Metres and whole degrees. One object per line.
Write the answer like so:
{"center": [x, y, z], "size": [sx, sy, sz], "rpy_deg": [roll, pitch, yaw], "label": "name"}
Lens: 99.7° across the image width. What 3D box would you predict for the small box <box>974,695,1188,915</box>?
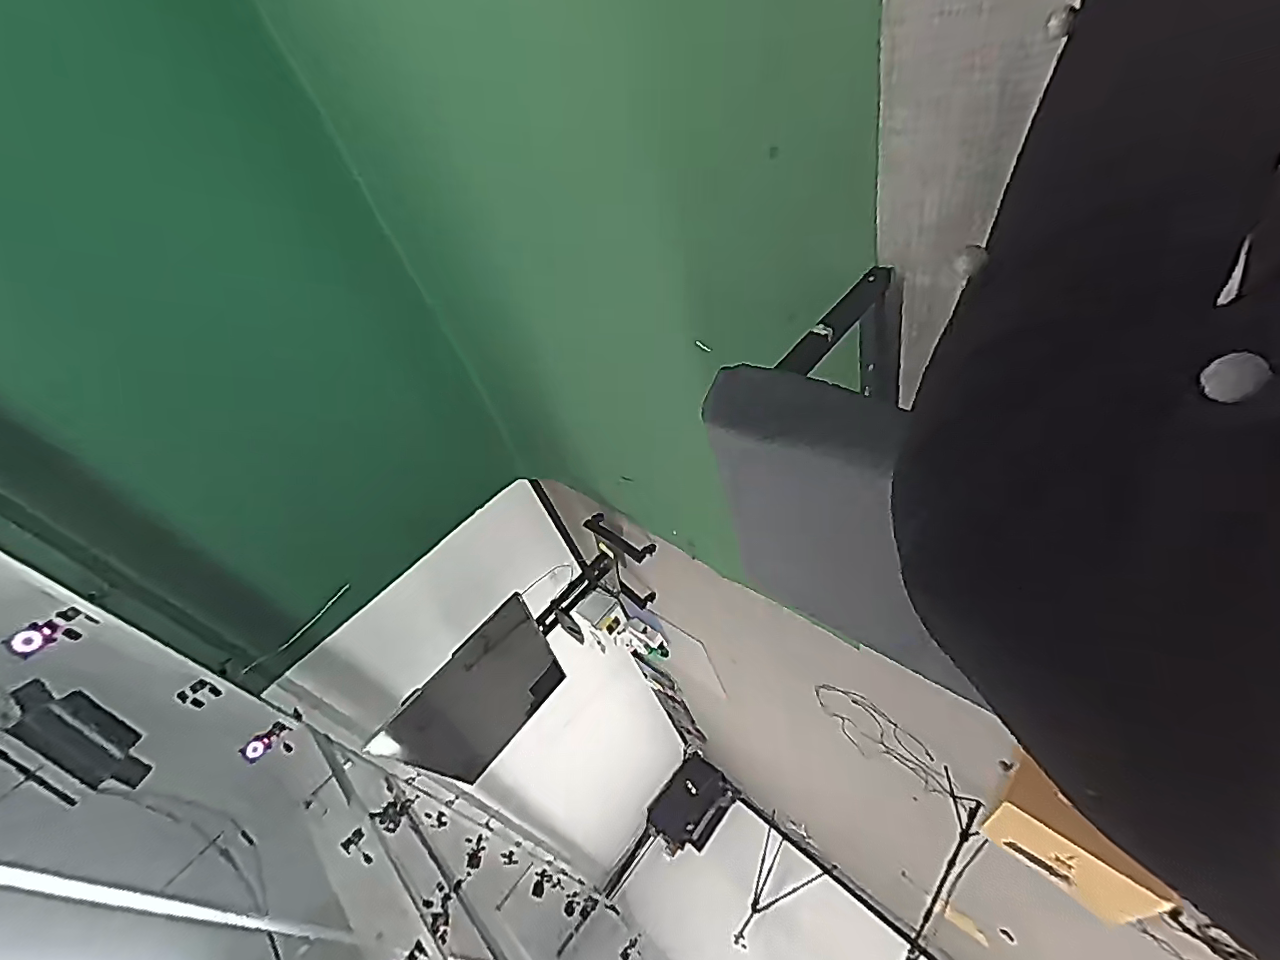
{"center": [0.582, 0.429, 0.726], "size": [0.168, 0.176, 0.179], "rpy_deg": [26, 151, 40], "label": "small box"}
